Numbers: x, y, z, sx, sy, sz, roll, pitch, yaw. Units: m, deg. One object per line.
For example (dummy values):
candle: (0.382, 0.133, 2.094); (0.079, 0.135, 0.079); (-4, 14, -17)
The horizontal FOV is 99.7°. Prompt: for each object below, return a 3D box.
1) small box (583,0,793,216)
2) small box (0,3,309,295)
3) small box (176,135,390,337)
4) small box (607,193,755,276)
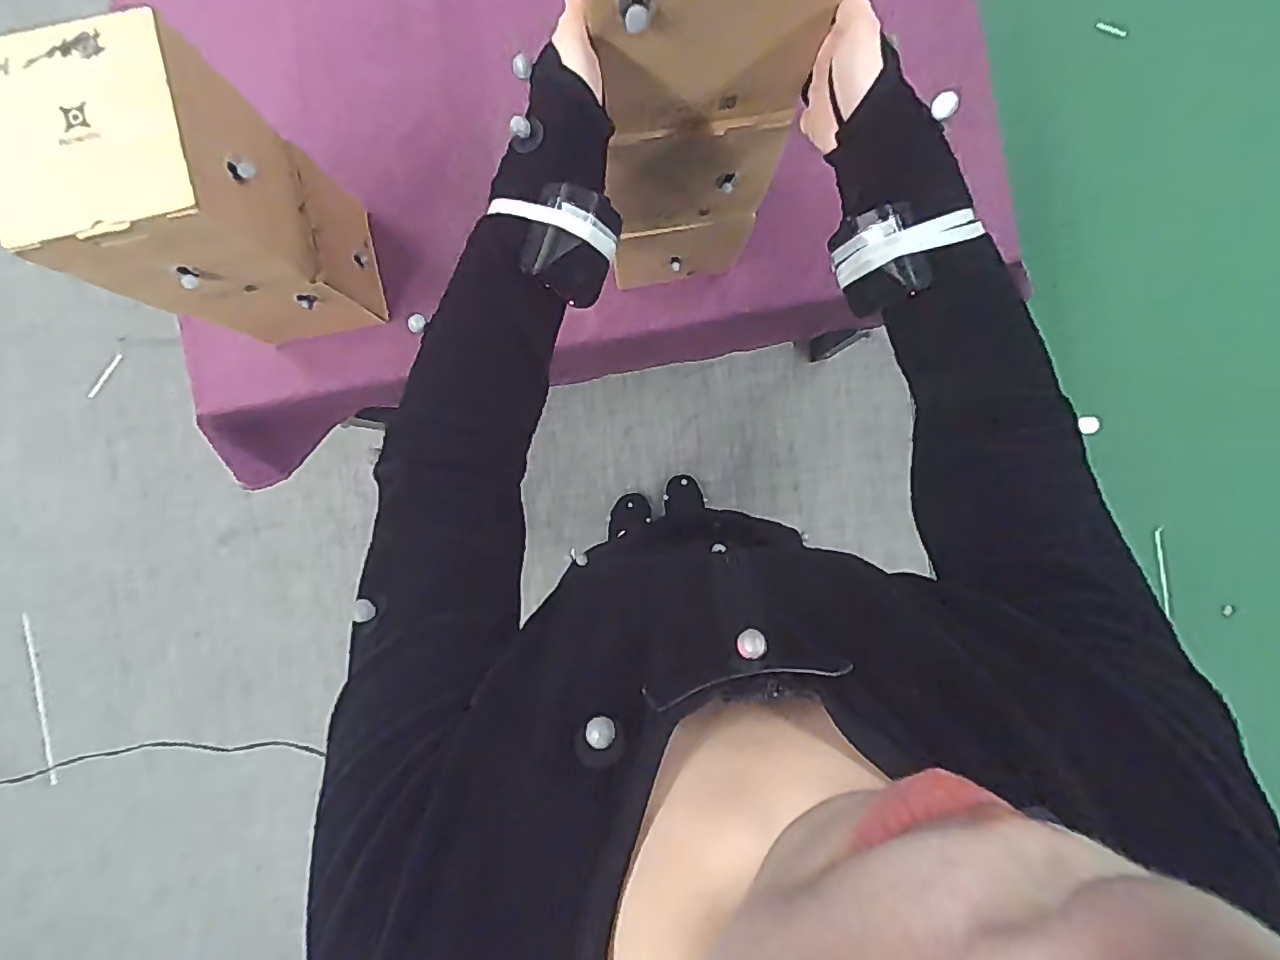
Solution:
small box: (0.039, -0.379, 0.525); (0.168, 0.176, 0.179); (-7, 90, 0)
small box: (-0.461, -0.296, 0.529); (0.168, 0.176, 0.179); (-12, 91, -1)
small box: (-0.456, -0.296, 0.693); (0.179, 0.176, 0.168); (-12, 90, -1)
small box: (0.040, -0.377, 0.689); (0.168, 0.176, 0.179); (-9, 91, 0)
